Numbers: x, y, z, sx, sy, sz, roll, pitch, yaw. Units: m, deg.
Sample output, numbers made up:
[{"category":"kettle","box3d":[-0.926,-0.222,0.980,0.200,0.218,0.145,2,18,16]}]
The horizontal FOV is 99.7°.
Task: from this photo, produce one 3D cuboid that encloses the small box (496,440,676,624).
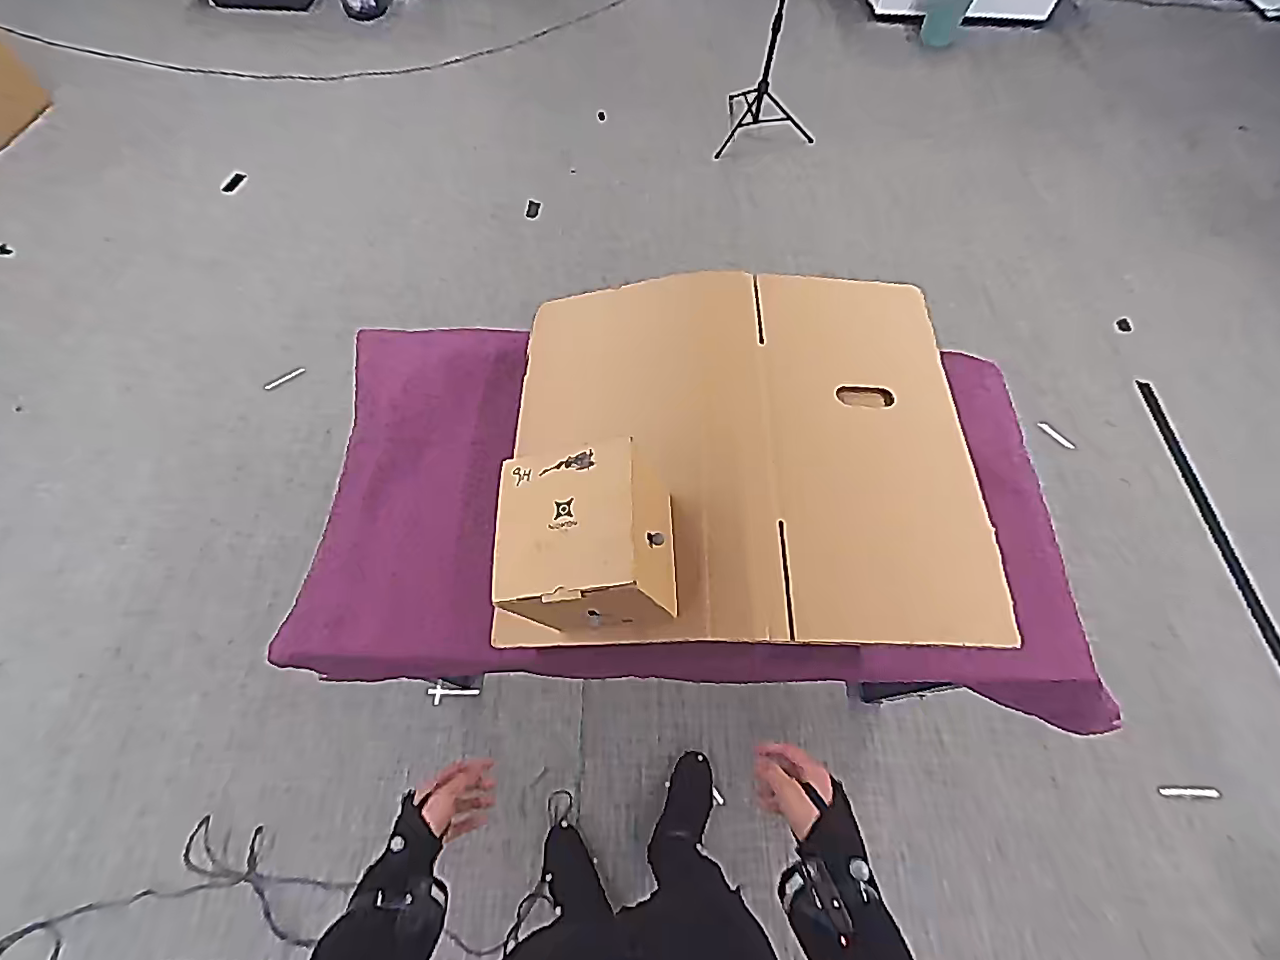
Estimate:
[{"category":"small box","box3d":[-0.057,0.076,0.666,0.168,0.176,0.179,-10,63,15]}]
